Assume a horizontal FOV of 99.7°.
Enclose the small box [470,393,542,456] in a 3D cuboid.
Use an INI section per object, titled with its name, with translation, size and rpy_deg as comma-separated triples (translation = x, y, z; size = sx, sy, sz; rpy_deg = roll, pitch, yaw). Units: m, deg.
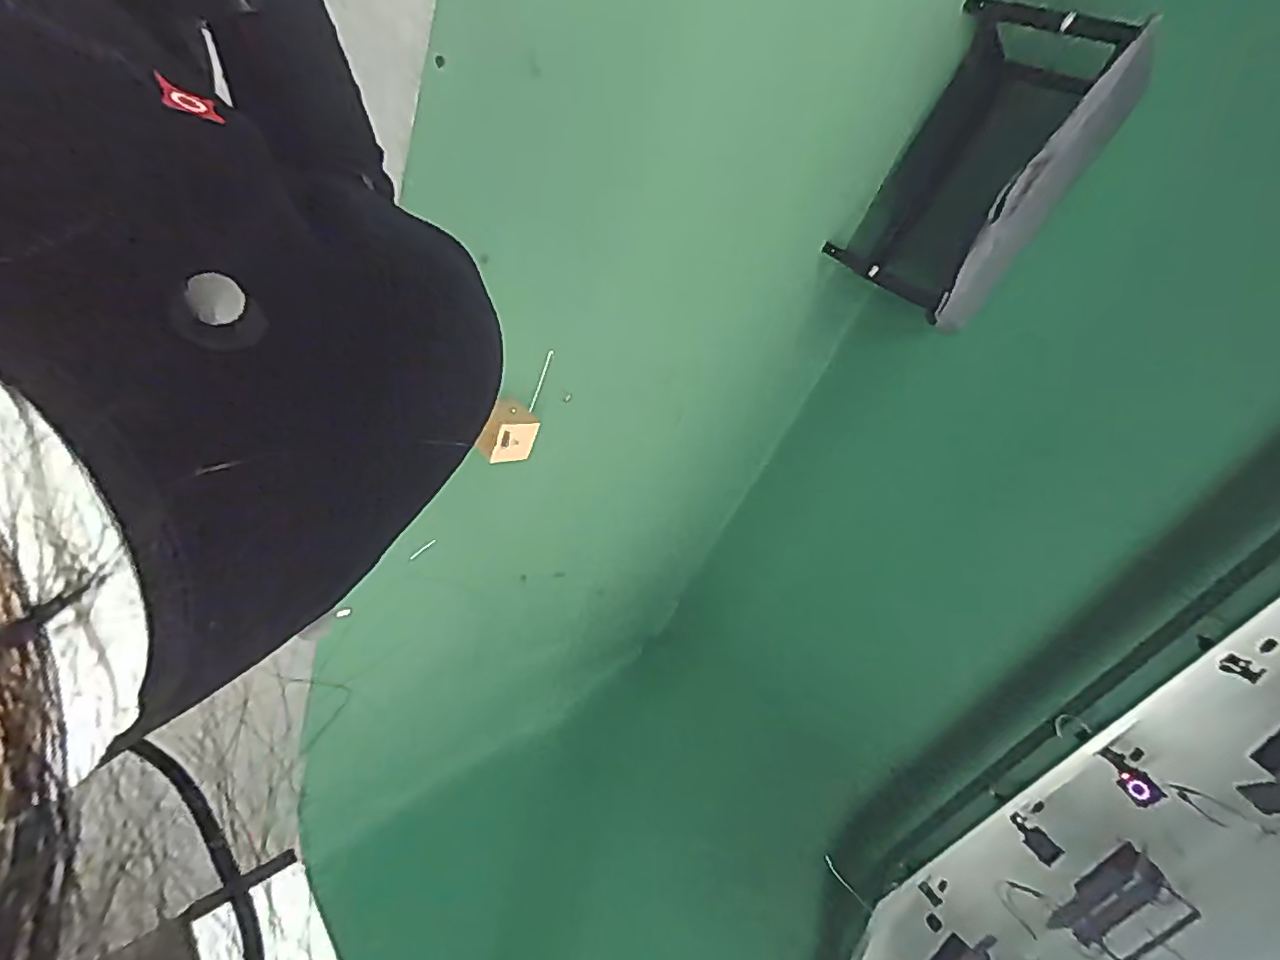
[small box]
translation = -0.497, -0.207, 1.990
size = 0.179, 0.176, 0.168
rpy_deg = -10, 134, -50
